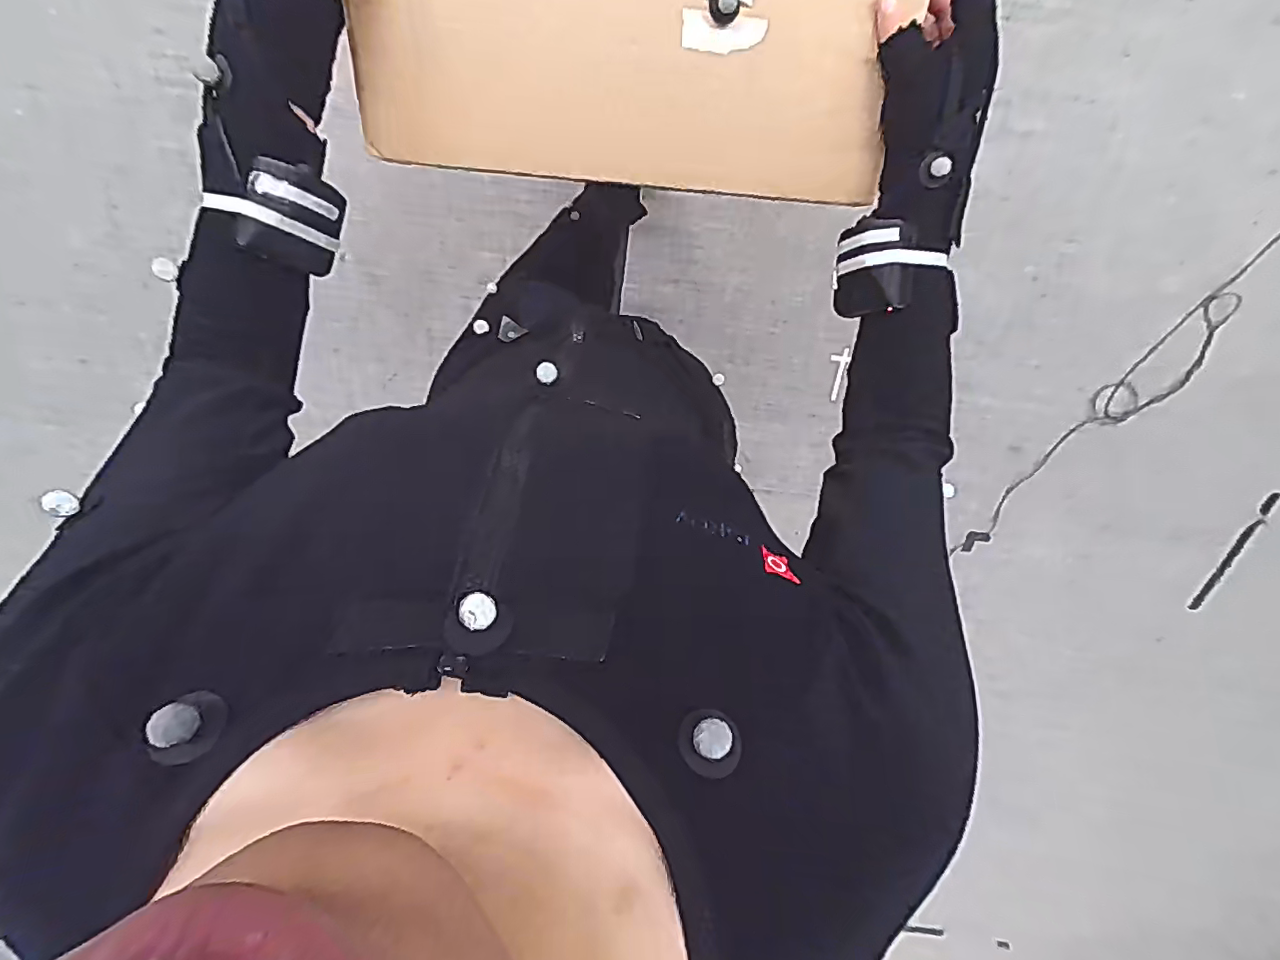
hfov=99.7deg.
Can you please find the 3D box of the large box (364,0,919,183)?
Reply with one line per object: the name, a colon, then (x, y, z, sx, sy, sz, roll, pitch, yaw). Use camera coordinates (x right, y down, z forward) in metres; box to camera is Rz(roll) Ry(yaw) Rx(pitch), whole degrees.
large box: (0.006, -0.459, 0.491, 0.408, 0.320, 0.320, 5, 120, 0)
